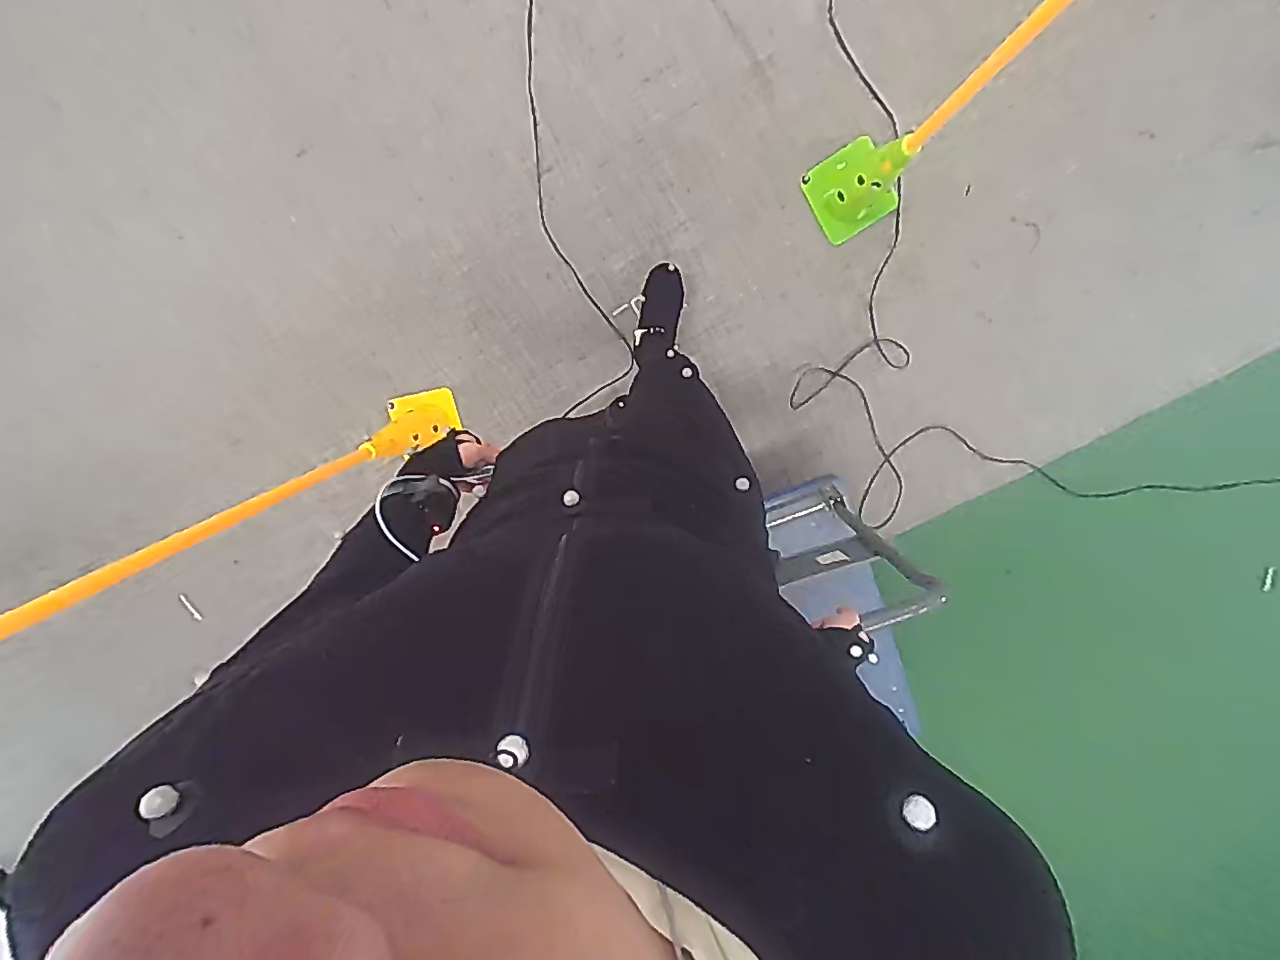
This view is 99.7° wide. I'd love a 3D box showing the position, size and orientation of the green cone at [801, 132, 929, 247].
[{"bbox_3d":[0.542,-0.694,1.228,0.202,0.368,0.200,-33,102,8],"label":"green cone"}]
